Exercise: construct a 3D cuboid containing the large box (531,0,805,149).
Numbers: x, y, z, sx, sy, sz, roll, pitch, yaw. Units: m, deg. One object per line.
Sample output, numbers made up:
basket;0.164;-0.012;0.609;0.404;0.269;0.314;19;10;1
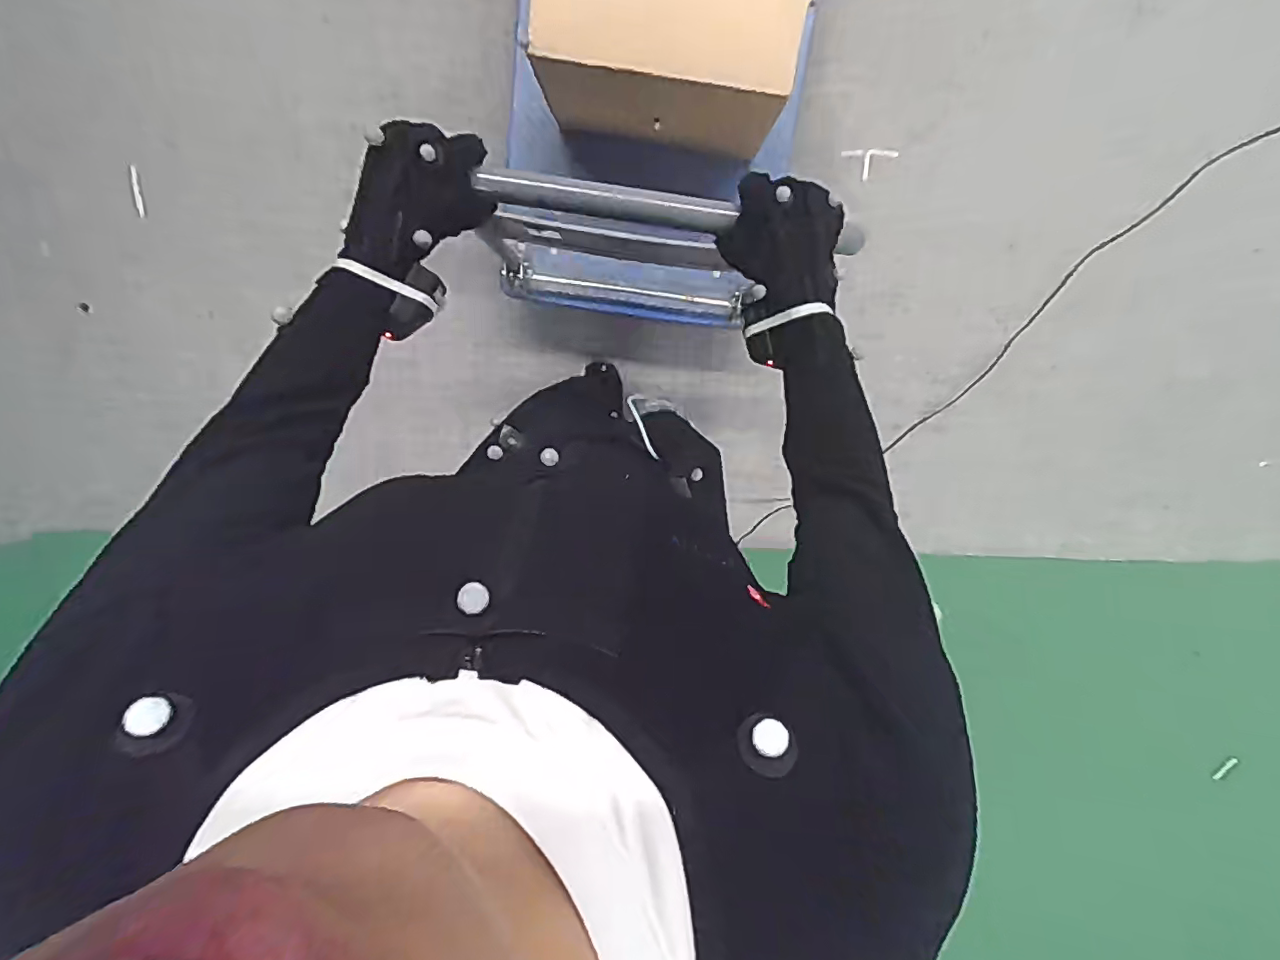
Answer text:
large box;0.056;-0.804;0.924;0.408;0.320;0.320;8;104;0
